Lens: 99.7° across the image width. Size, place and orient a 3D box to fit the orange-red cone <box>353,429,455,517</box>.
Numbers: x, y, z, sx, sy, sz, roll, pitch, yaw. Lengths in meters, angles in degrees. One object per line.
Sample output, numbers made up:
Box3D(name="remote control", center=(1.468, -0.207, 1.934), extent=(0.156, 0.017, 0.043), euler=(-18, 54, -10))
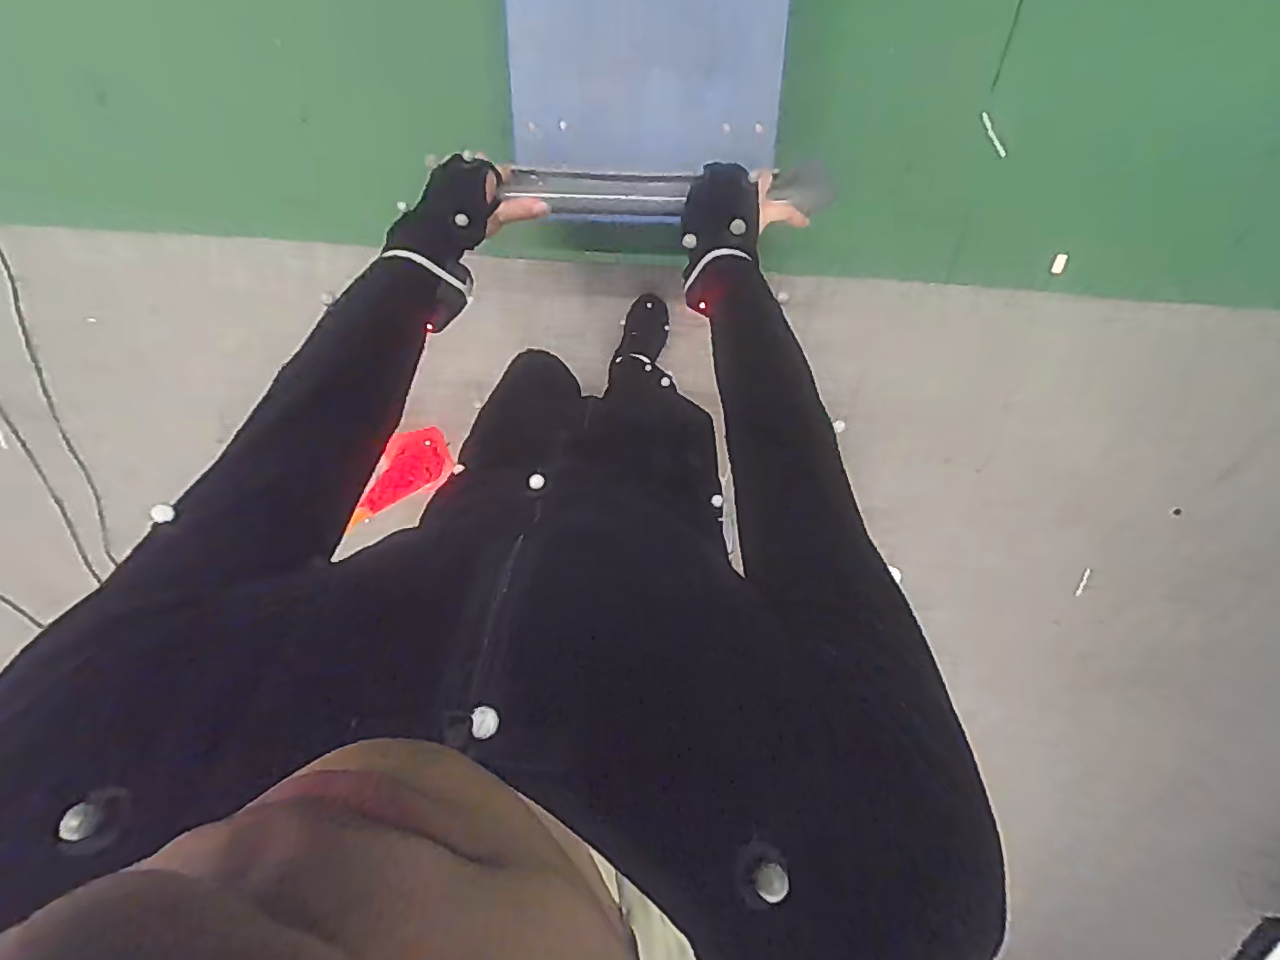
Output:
Box3D(name="orange-red cone", center=(-0.684, 0.011, 1.491), extent=(0.199, 0.360, 0.198), euler=(-9, 111, 6))
